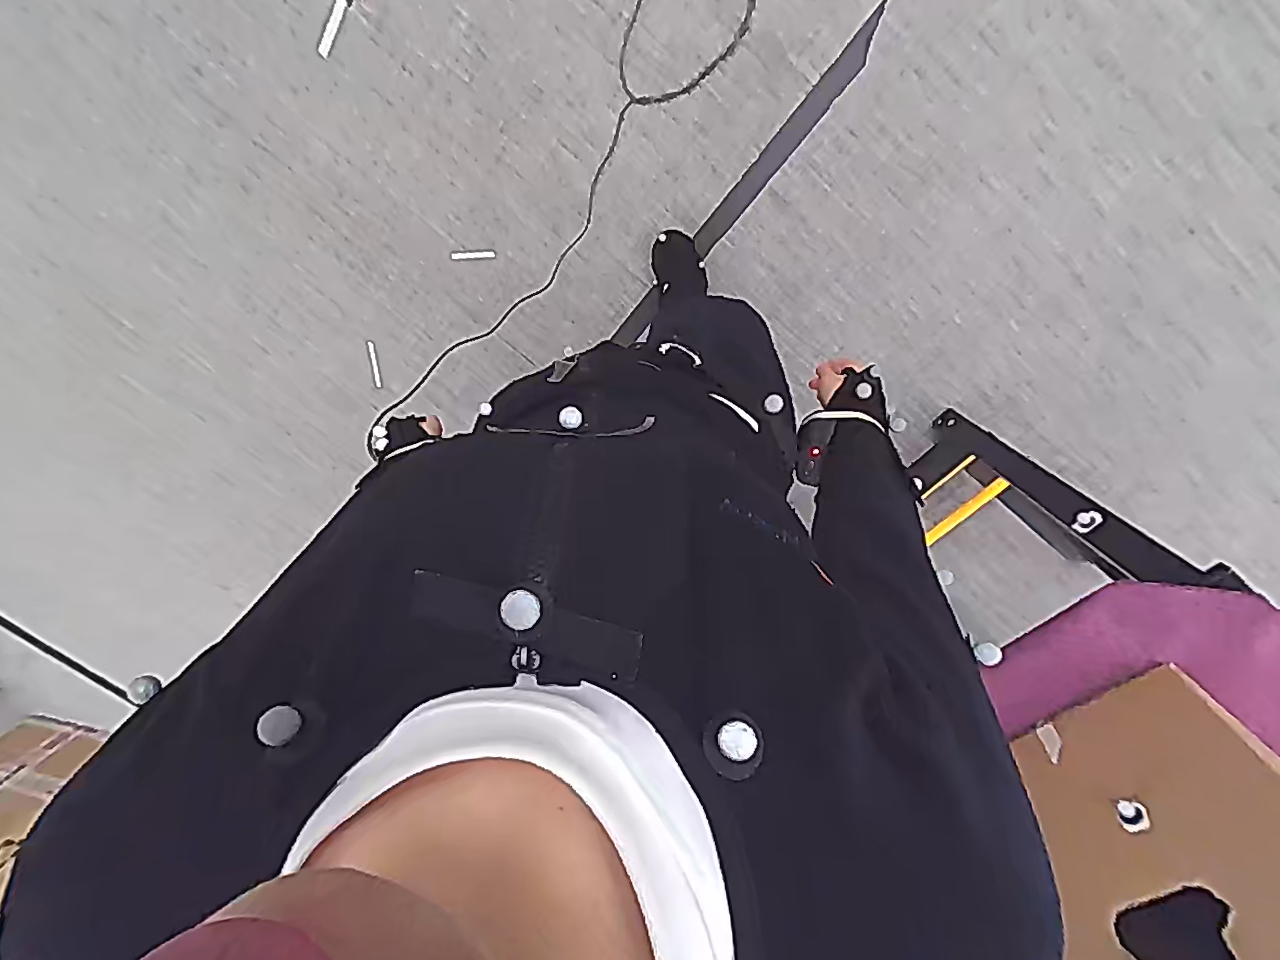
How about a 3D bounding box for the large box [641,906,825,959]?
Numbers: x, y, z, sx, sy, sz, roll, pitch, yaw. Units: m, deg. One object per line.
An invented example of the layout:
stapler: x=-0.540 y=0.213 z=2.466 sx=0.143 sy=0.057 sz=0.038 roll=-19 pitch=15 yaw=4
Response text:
large box: x=0.198 y=0.971 z=0.839 sx=0.408 sy=0.320 sz=0.320 roll=38 pitch=113 yaw=-10
